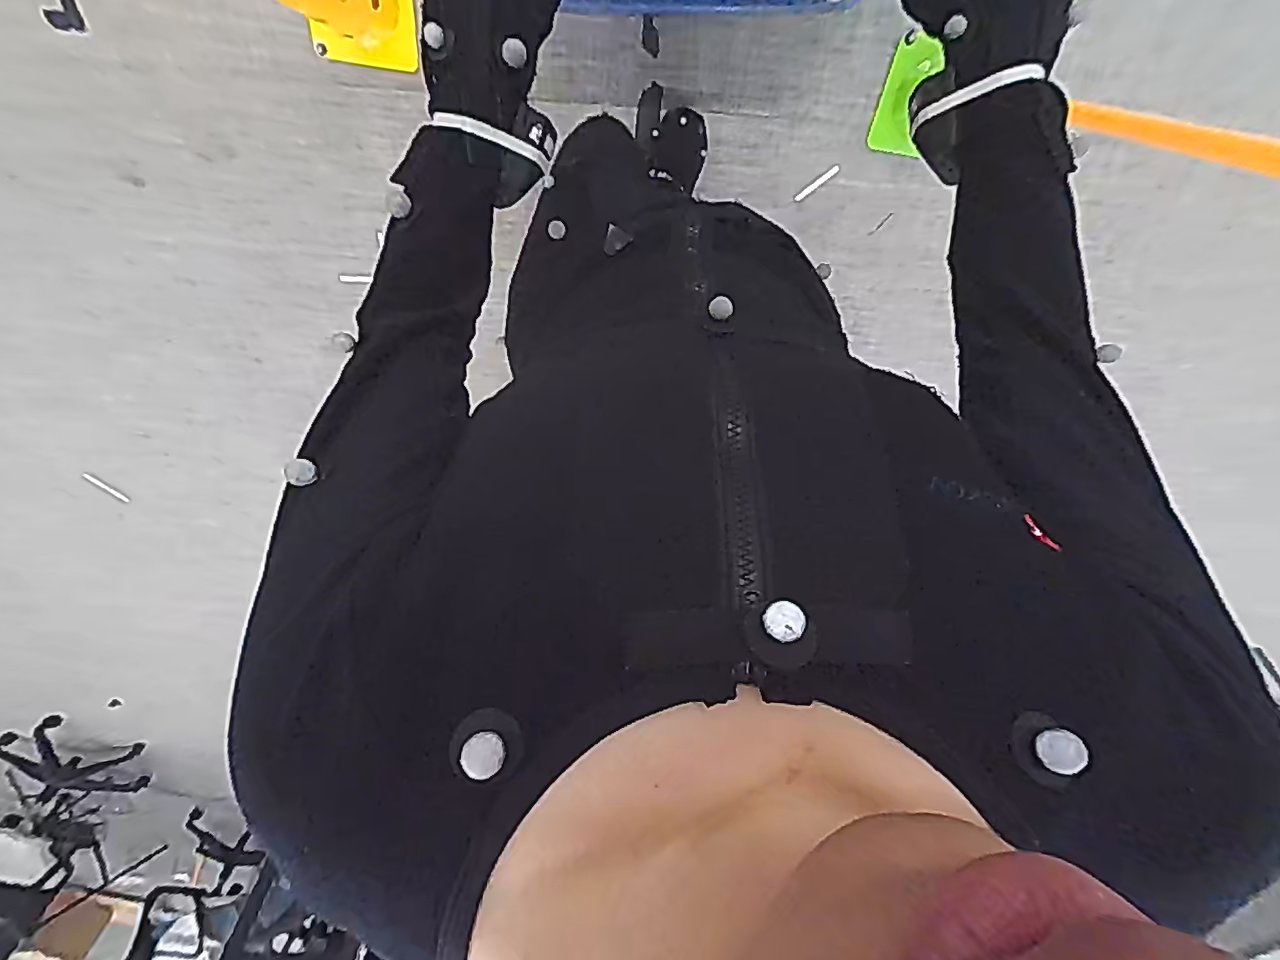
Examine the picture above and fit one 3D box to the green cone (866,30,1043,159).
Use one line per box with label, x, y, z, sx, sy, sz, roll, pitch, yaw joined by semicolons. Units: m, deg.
green cone;0.595;-0.689;0.982;0.202;0.368;0.200;5;126;-6
